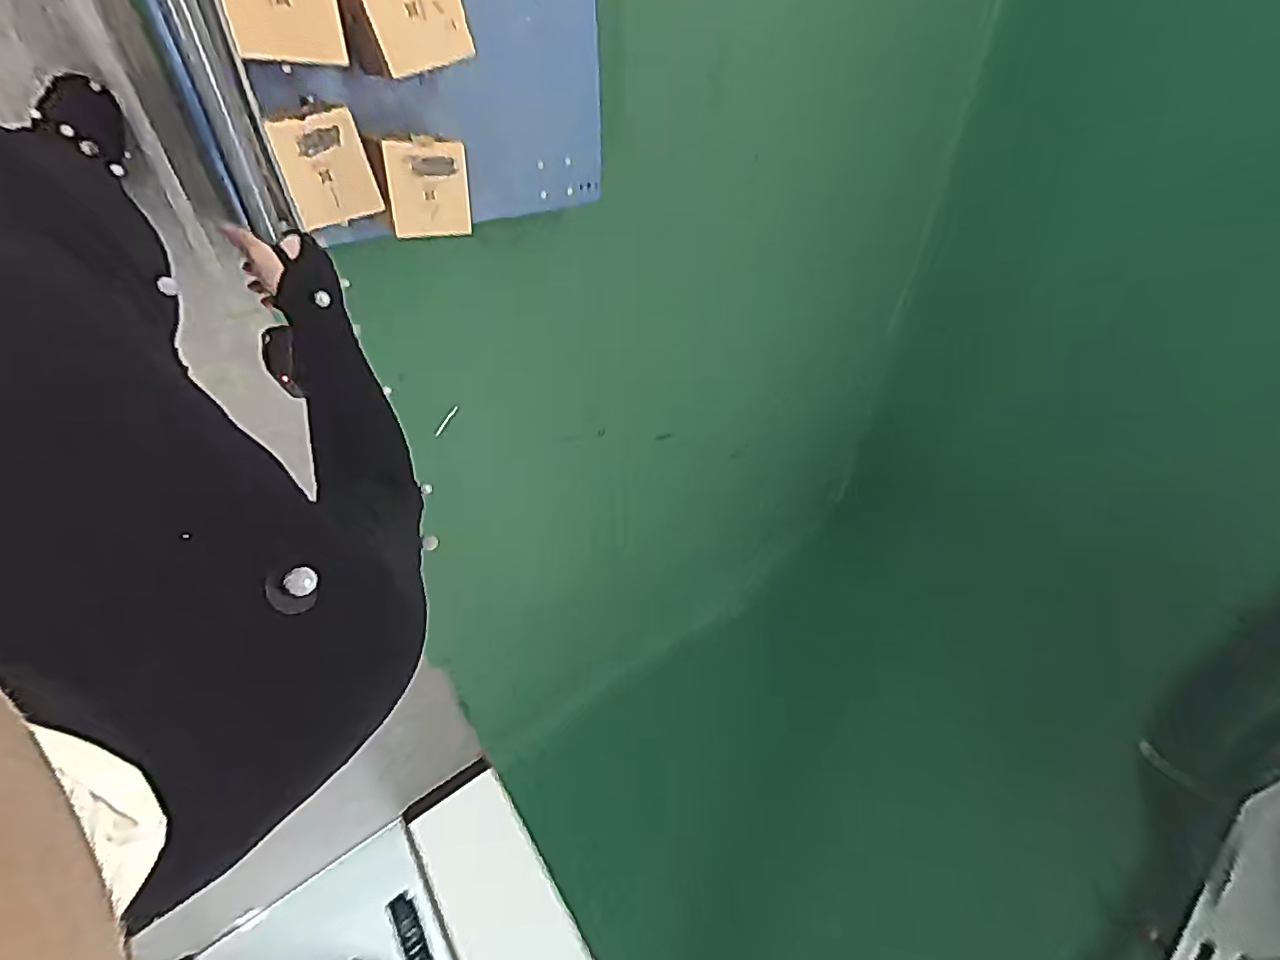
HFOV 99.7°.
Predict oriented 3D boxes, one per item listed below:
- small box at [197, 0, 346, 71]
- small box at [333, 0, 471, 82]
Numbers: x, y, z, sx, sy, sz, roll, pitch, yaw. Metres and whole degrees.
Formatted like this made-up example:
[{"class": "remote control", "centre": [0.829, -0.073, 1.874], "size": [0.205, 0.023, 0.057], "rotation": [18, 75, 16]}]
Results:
[{"class": "small box", "centre": [-0.623, -0.794, 0.898], "size": [0.179, 0.176, 0.168], "rotation": [-22, 134, -31]}, {"class": "small box", "centre": [-0.452, -0.863, 1.007], "size": [0.179, 0.176, 0.168], "rotation": [-34, 139, -20]}]
